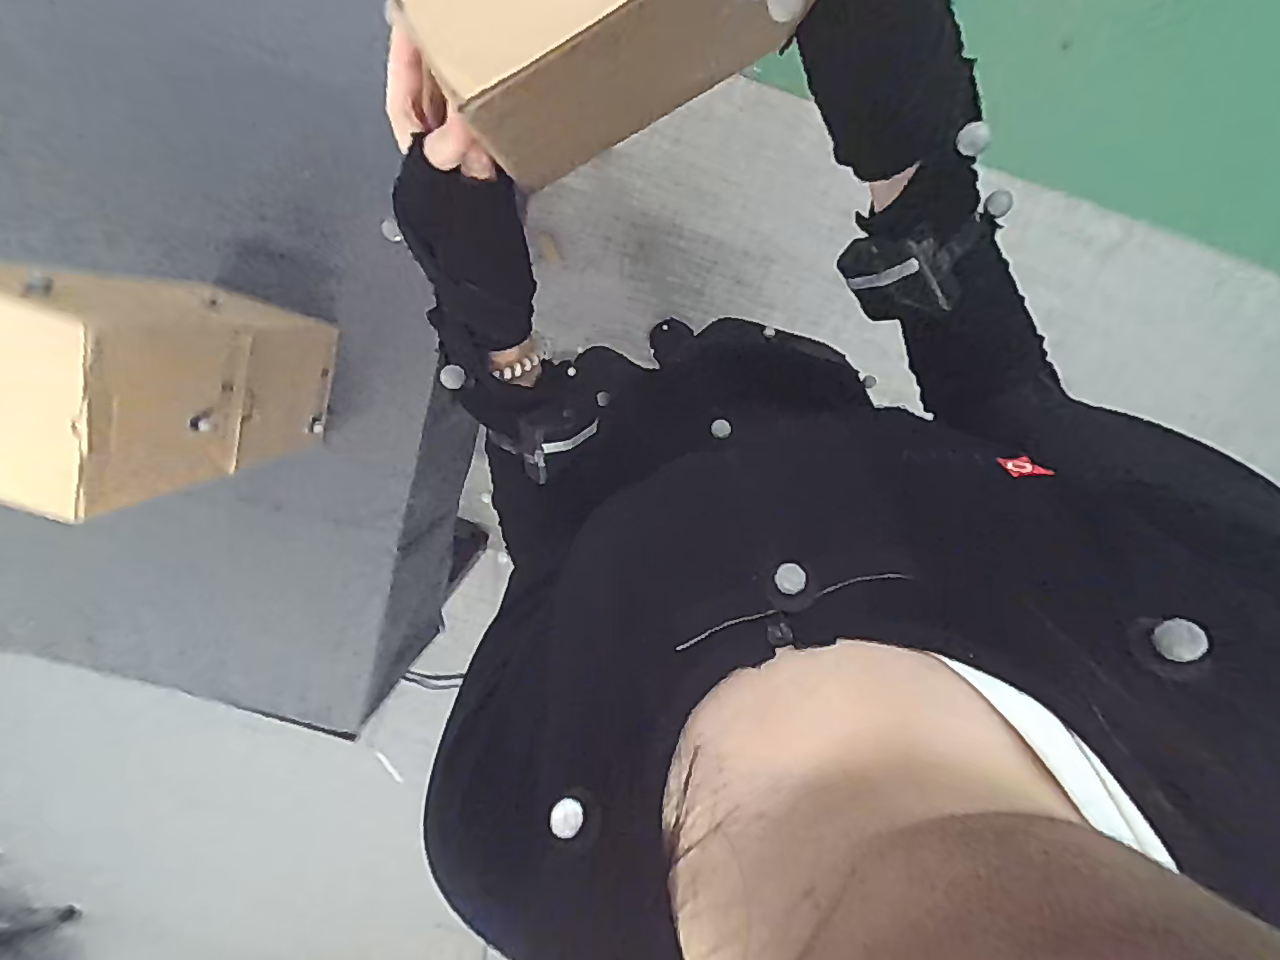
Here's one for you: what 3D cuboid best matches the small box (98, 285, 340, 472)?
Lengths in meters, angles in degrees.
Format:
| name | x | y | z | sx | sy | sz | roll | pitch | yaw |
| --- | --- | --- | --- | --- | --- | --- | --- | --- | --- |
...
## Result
| name | x | y | z | sx | sy | sz | roll | pitch | yaw |
| --- | --- | --- | --- | --- | --- | --- | --- | --- | --- |
| small box | -0.503 | -0.128 | 0.664 | 0.179 | 0.176 | 0.168 | 17 | 105 | -1 |

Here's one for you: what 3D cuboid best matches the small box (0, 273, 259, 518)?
| name | x | y | z | sx | sy | sz | roll | pitch | yaw |
| --- | --- | --- | --- | --- | --- | --- | --- | --- | --- |
| small box | -0.510 | -0.086 | 0.507 | 0.179 | 0.176 | 0.168 | 17 | 105 | -3 |

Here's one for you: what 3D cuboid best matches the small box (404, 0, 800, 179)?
| name | x | y | z | sx | sy | sz | roll | pitch | yaw |
| --- | --- | --- | --- | --- | --- | --- | --- | --- | --- |
| small box | -0.025 | -0.260 | 0.228 | 0.179 | 0.176 | 0.168 | -26 | 108 | 7 |
